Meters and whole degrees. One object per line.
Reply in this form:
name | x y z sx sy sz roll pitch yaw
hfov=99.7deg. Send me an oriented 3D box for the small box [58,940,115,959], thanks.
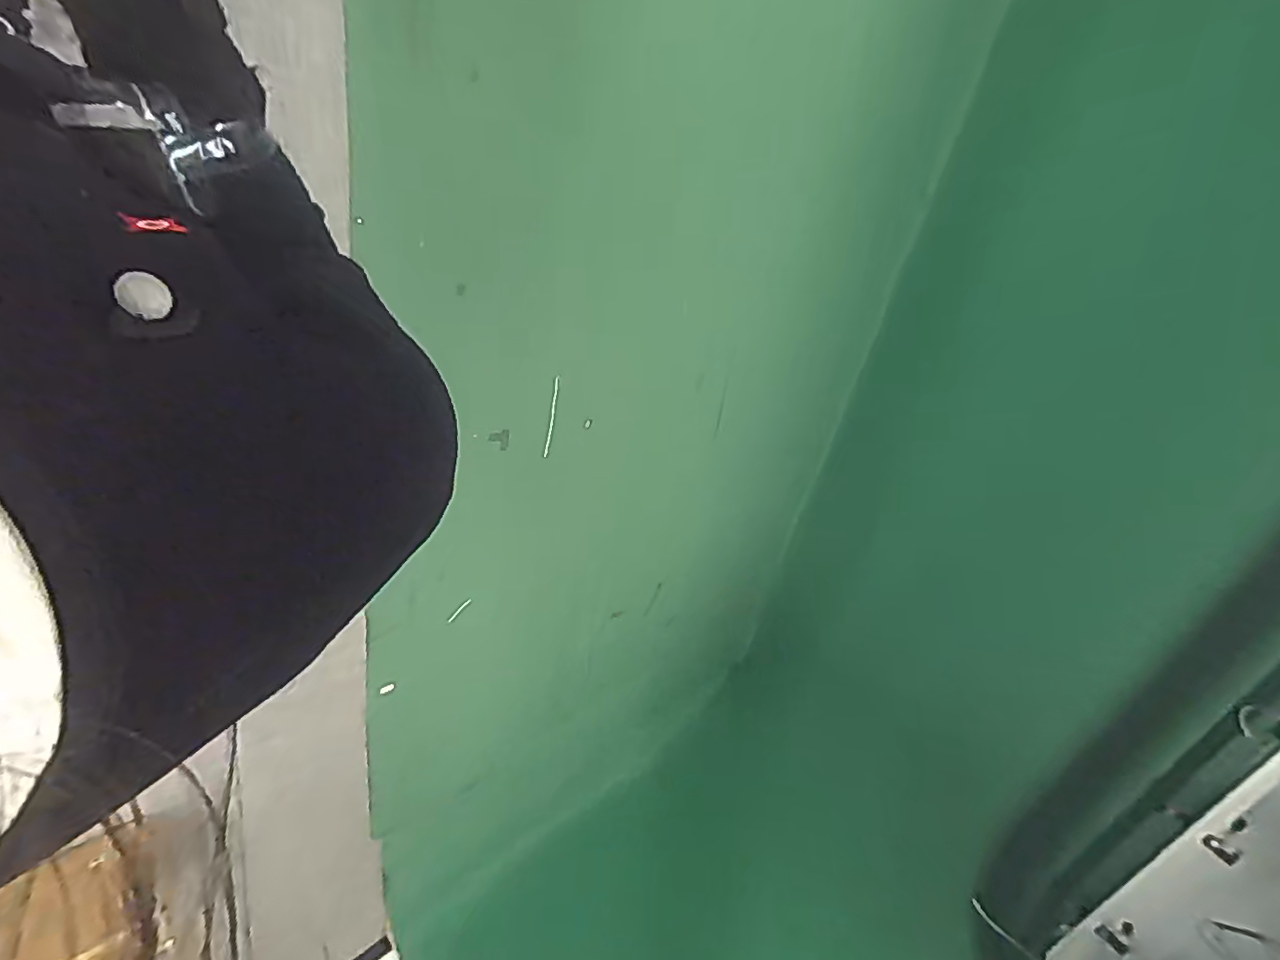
small box | -1.363 1.256 1.283 0.168 0.176 0.179 -19 131 -41
